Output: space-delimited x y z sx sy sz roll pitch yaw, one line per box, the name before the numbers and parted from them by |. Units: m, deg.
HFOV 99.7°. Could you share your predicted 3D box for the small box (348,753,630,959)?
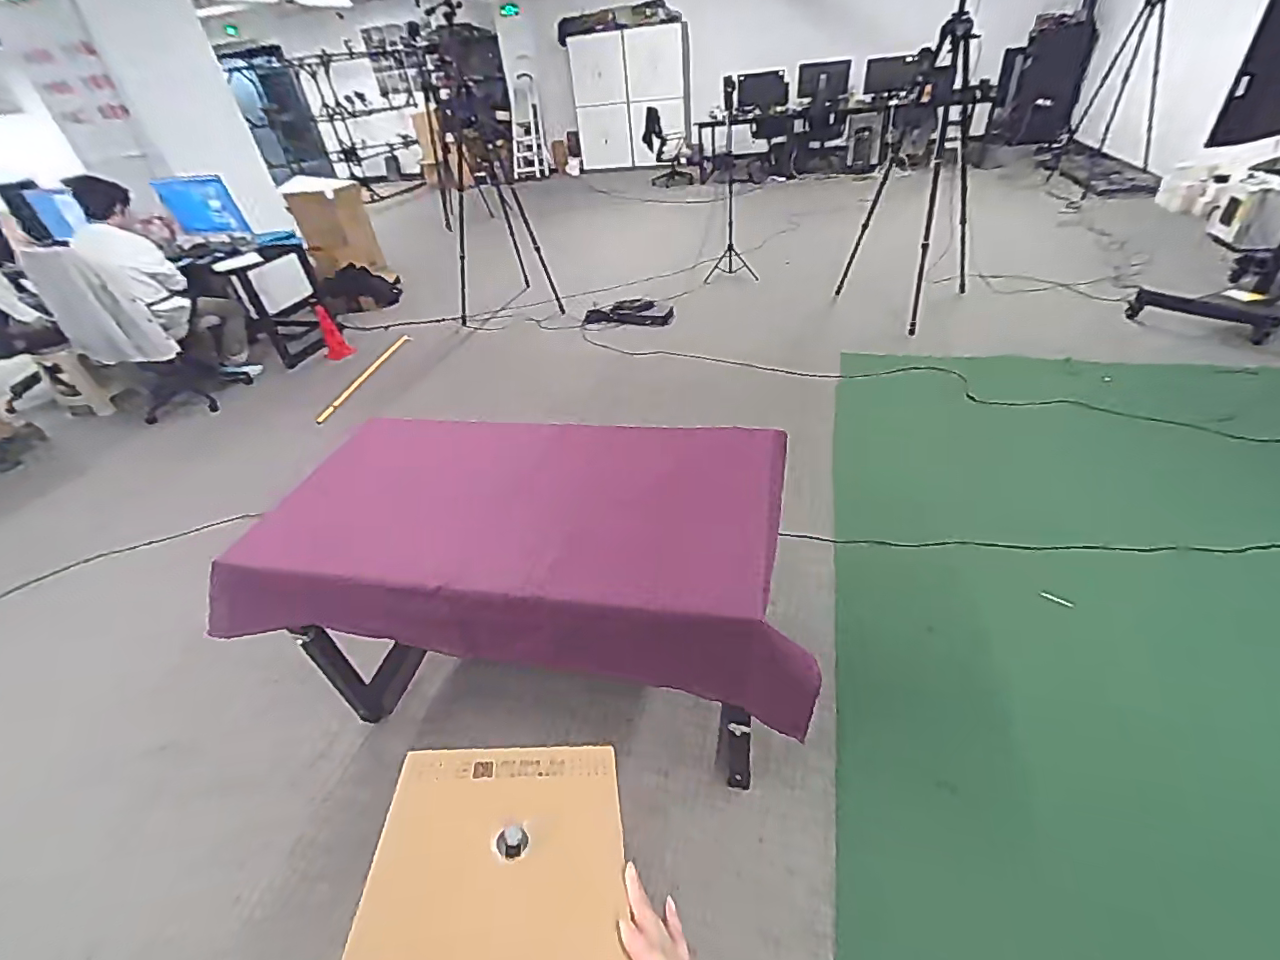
small box | -0.106 0.327 0.398 0.168 0.179 0.176 4 21 -9
